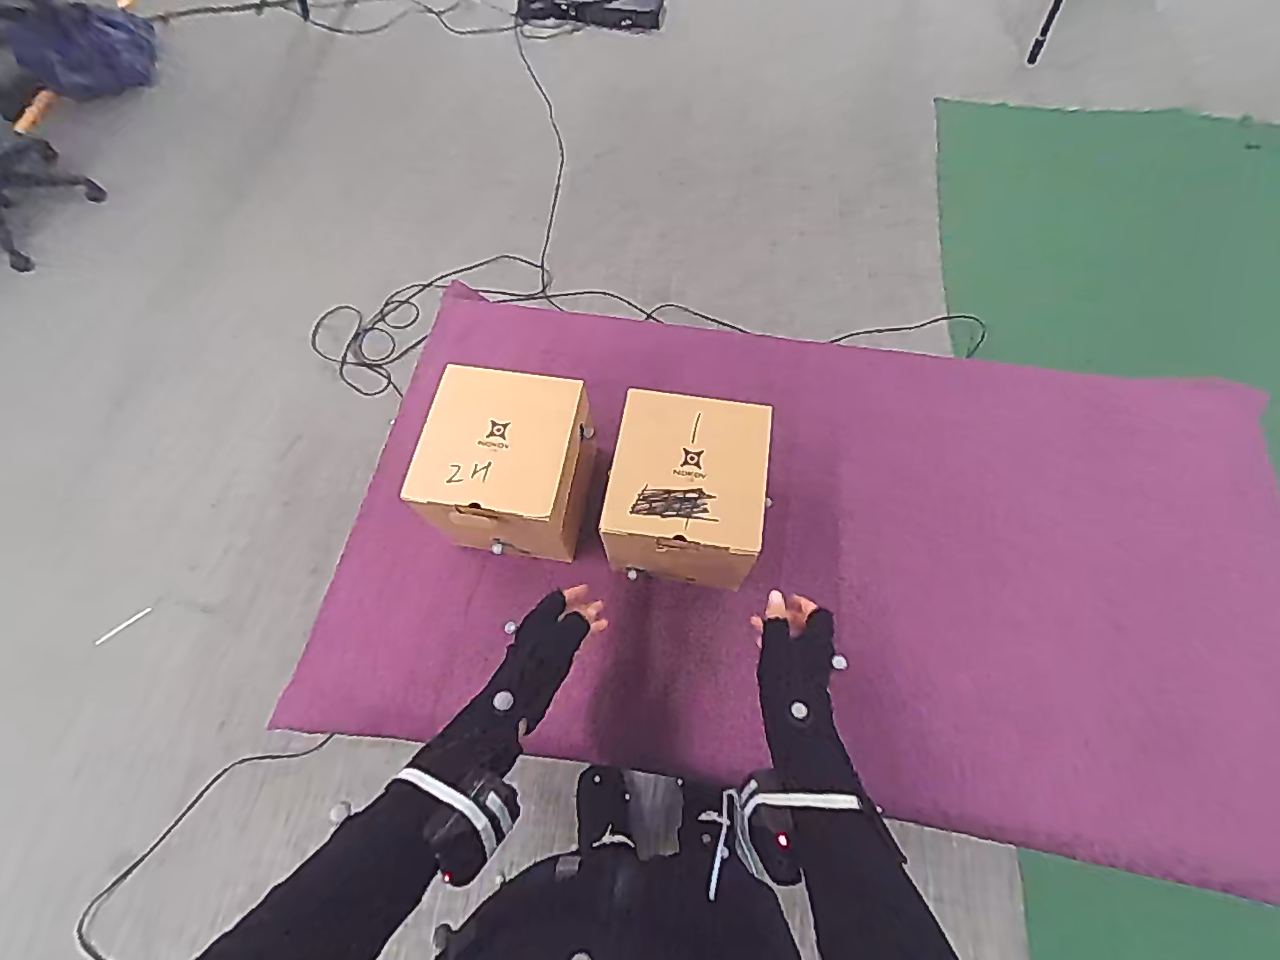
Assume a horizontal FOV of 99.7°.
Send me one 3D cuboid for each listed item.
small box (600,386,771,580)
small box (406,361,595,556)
[{"bbox_3d":[0.055,0.012,0.655,0.168,0.176,0.179,8,67,5],"label":"small box"},{"bbox_3d":[-0.155,-0.020,0.674,0.168,0.176,0.179,8,67,6],"label":"small box"}]
